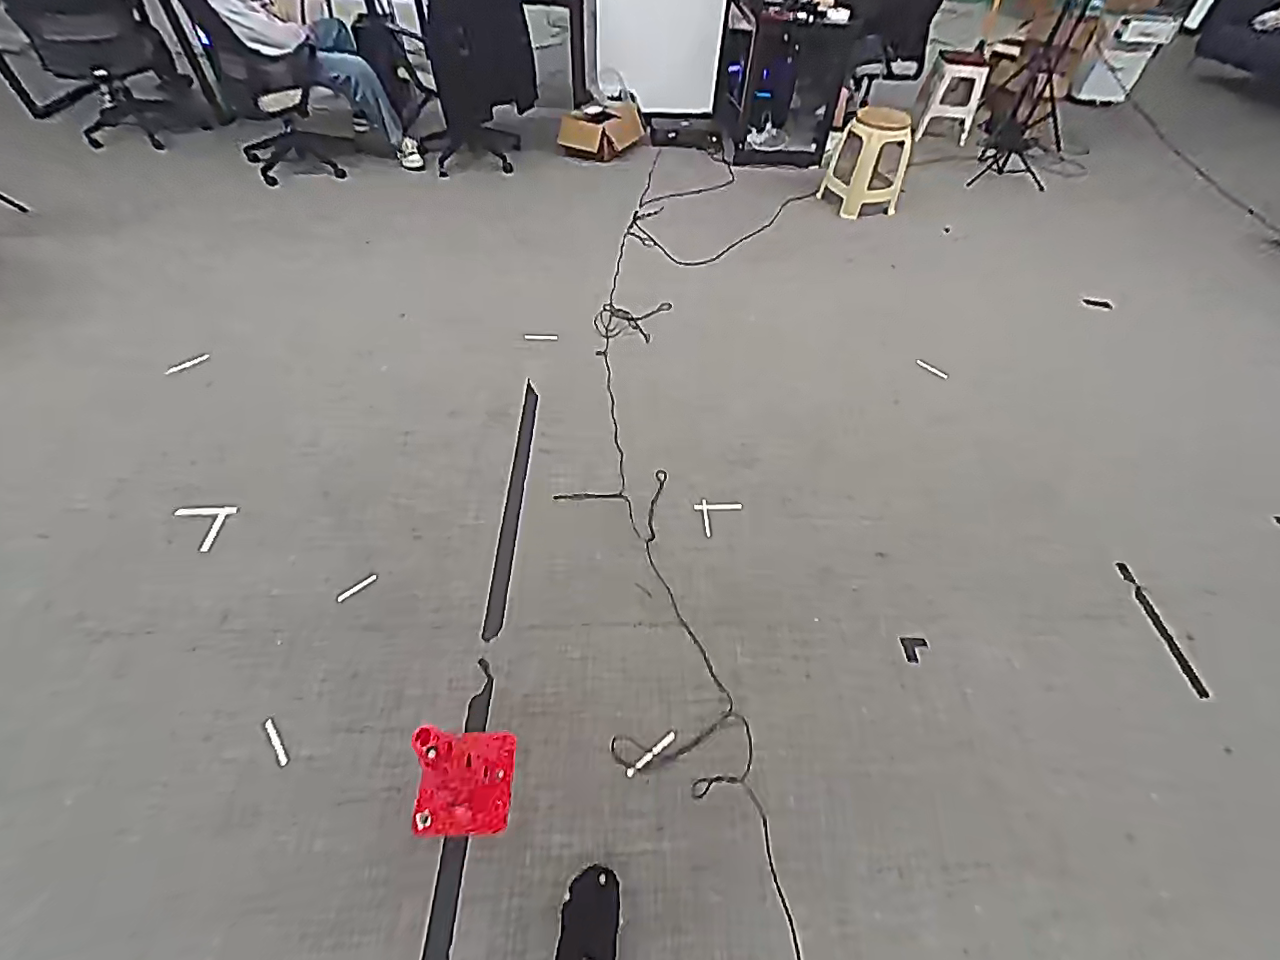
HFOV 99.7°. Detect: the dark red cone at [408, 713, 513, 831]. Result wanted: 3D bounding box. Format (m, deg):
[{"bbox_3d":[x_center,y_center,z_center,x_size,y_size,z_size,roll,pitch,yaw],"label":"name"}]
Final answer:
[{"bbox_3d":[-0.373,0.537,1.045,0.201,0.394,0.202,1,50,-4],"label":"dark red cone"}]
